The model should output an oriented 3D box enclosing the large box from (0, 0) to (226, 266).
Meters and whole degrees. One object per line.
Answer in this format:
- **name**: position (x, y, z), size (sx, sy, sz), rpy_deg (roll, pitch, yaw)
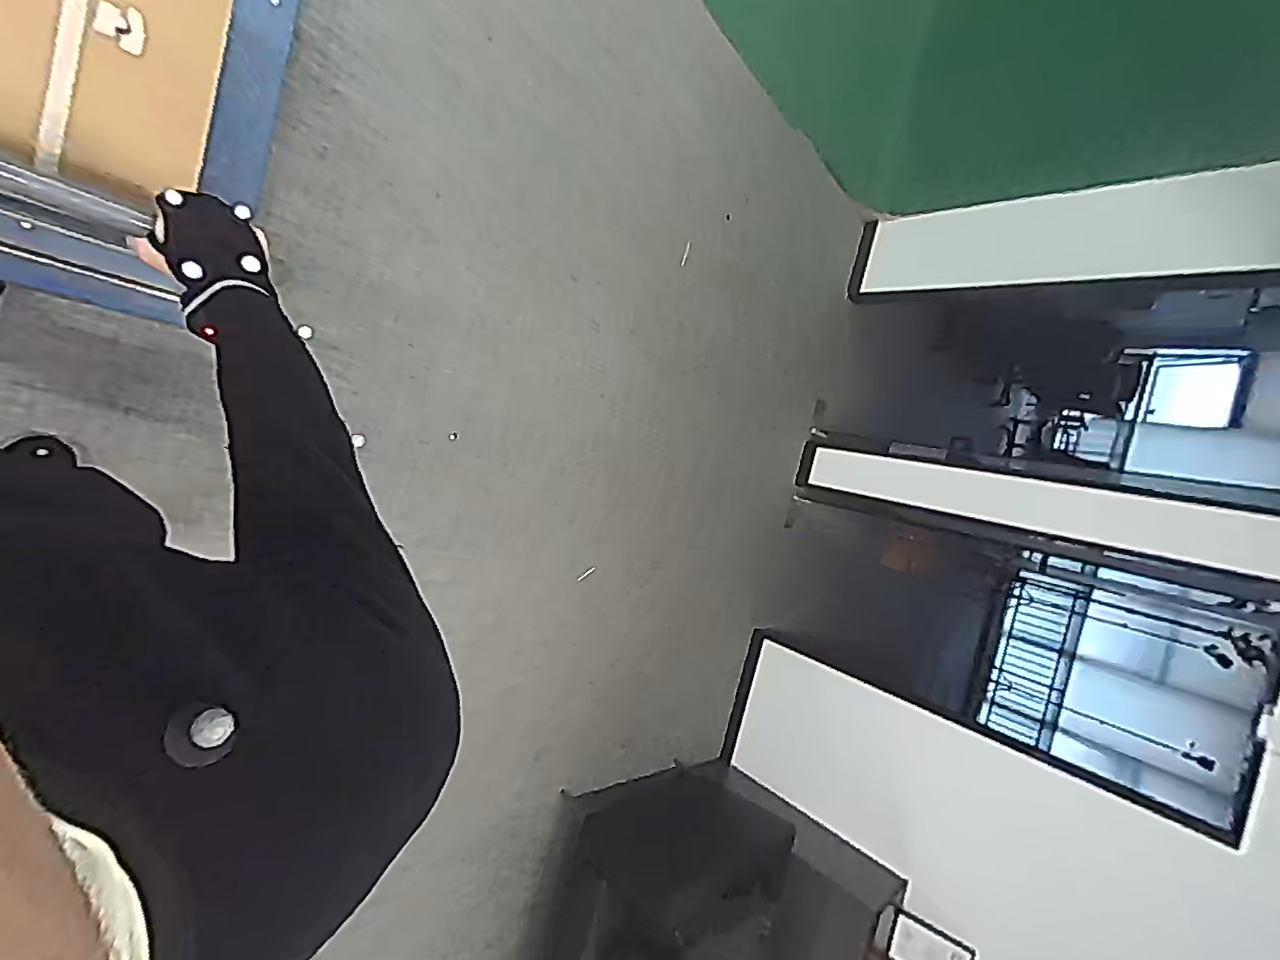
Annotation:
- **large box**: position (-0.891, -0.603, 0.845), size (0.320, 0.320, 0.408), rpy_deg (11, 91, -46)
